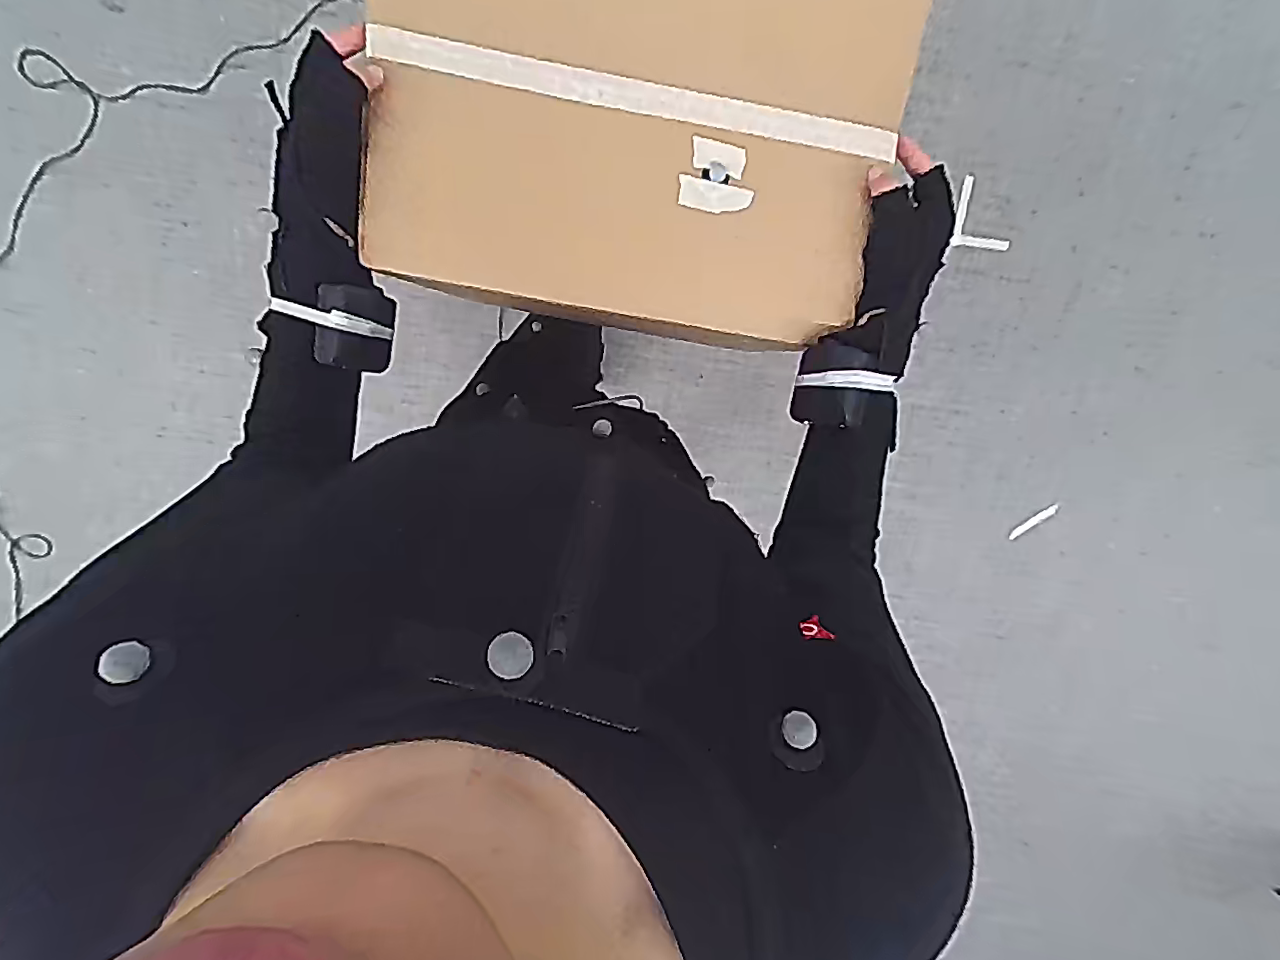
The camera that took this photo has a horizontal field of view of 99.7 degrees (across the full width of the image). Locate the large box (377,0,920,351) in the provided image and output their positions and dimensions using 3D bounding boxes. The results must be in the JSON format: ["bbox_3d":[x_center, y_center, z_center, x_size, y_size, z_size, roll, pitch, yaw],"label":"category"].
[{"bbox_3d":[-0.008,-0.321,0.569,0.408,0.320,0.320,9,104,-6],"label":"large box"}]
